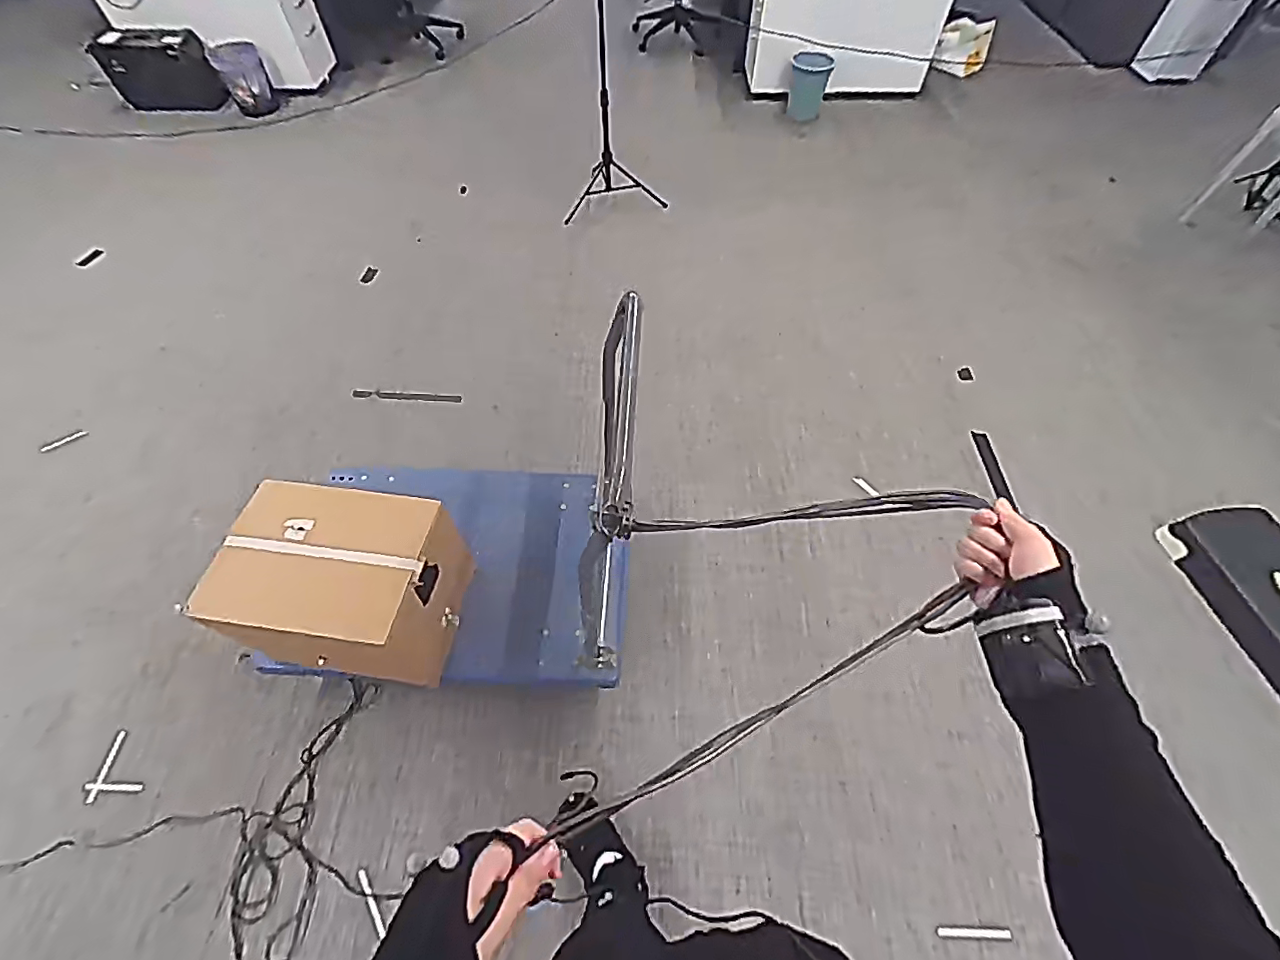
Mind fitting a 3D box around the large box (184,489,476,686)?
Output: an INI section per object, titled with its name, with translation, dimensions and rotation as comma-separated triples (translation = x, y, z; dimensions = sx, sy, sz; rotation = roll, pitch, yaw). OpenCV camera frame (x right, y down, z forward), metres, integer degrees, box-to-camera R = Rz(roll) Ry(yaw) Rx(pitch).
[large box]
translation = -0.630, 0.245, 1.193
dimensions = 0.408, 0.320, 0.320
rotation = 6, 55, 5
